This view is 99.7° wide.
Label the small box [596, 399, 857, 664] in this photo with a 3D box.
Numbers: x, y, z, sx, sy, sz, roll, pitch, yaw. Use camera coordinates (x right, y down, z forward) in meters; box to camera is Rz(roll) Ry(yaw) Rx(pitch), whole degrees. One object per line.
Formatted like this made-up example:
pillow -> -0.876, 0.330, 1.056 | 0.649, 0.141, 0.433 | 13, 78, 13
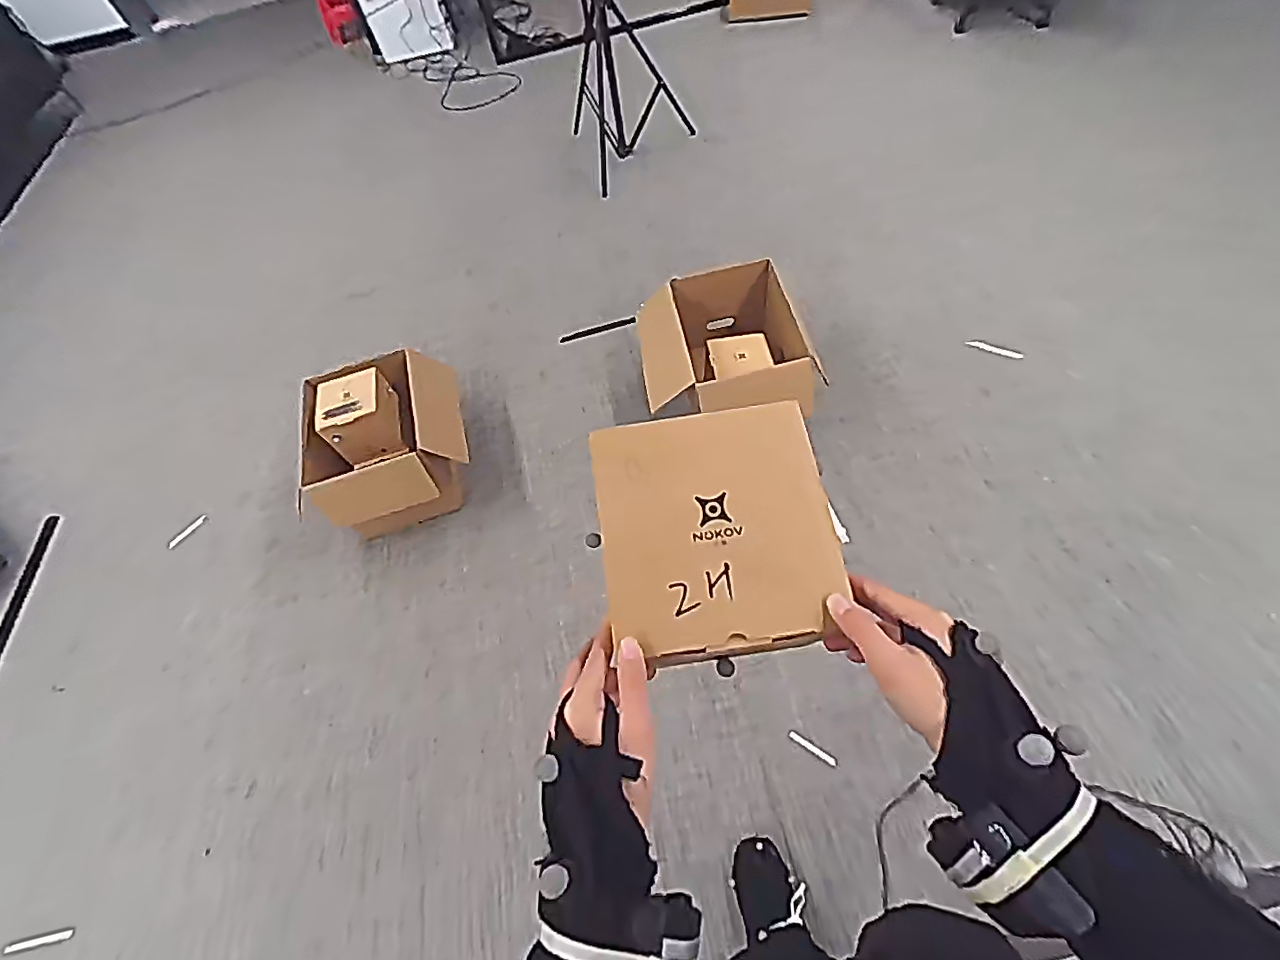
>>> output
small box -> 0.059, 0.055, 0.469 | 0.168, 0.176, 0.179 | -9, 69, 0
